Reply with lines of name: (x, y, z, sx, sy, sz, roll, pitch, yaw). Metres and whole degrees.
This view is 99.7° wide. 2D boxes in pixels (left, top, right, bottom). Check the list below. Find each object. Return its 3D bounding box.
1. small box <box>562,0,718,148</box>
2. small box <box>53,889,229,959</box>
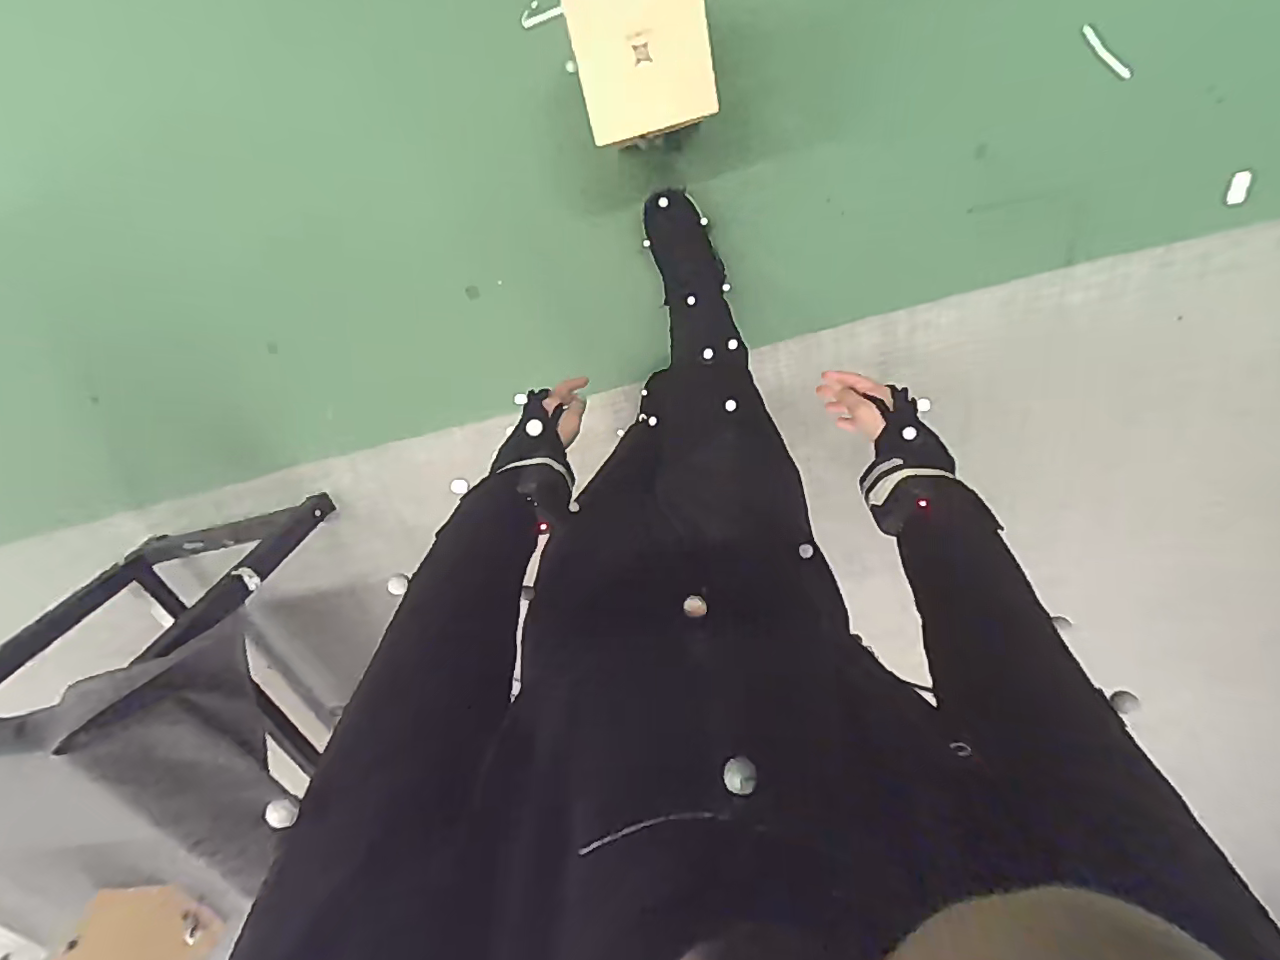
small box: (0.008, -0.566, 0.725, 0.168, 0.176, 0.179, -11, 119, 10)
small box: (-0.879, 0.843, 0.933, 0.179, 0.176, 0.168, -12, 119, 9)
